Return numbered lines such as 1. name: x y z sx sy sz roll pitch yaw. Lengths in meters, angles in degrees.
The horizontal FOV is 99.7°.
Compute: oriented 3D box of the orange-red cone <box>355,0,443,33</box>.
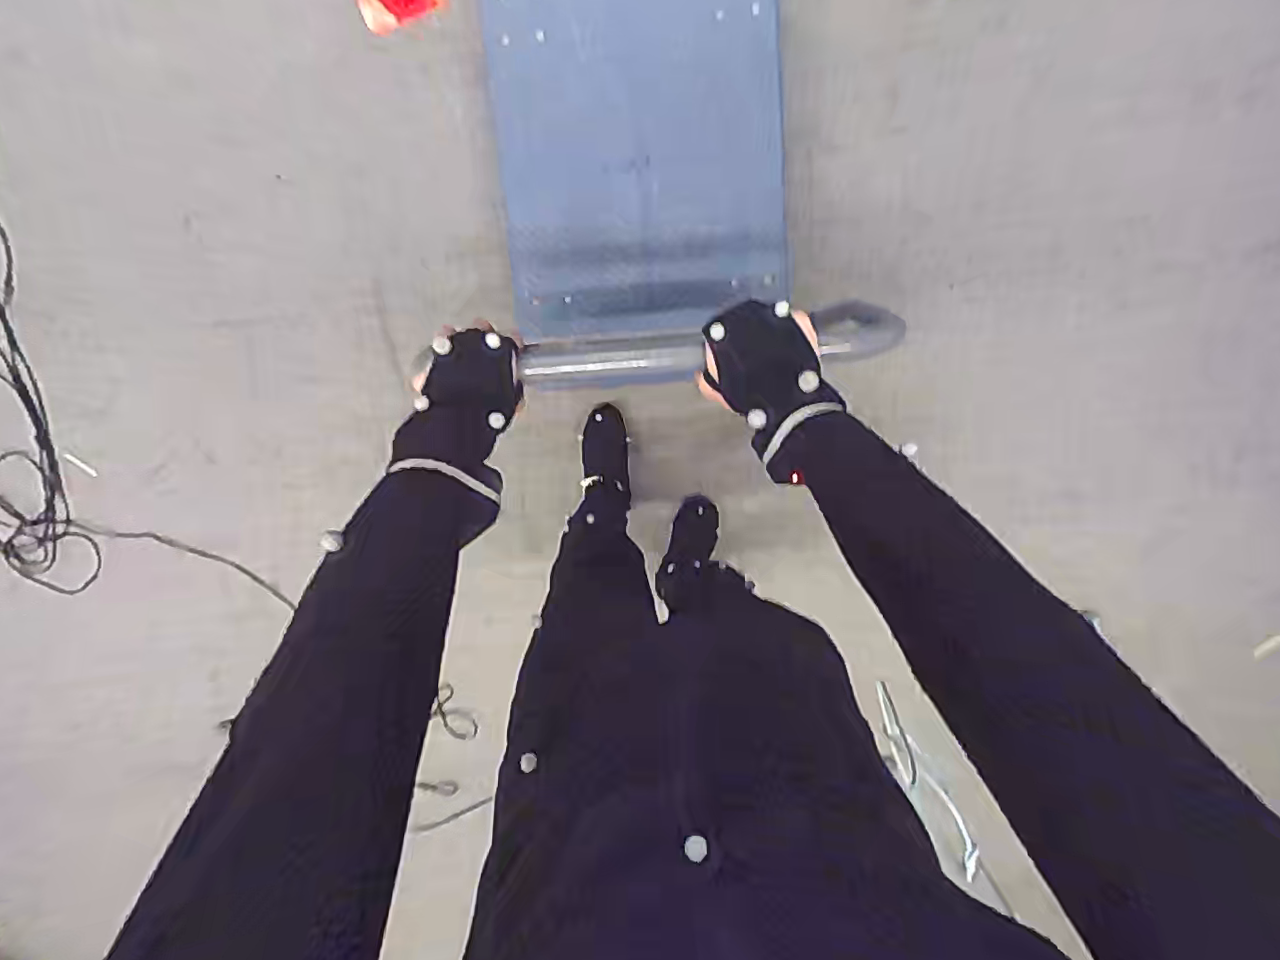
1. orange-red cone: -0.561 -1.090 1.030 0.199 0.360 0.198 -17 98 6
